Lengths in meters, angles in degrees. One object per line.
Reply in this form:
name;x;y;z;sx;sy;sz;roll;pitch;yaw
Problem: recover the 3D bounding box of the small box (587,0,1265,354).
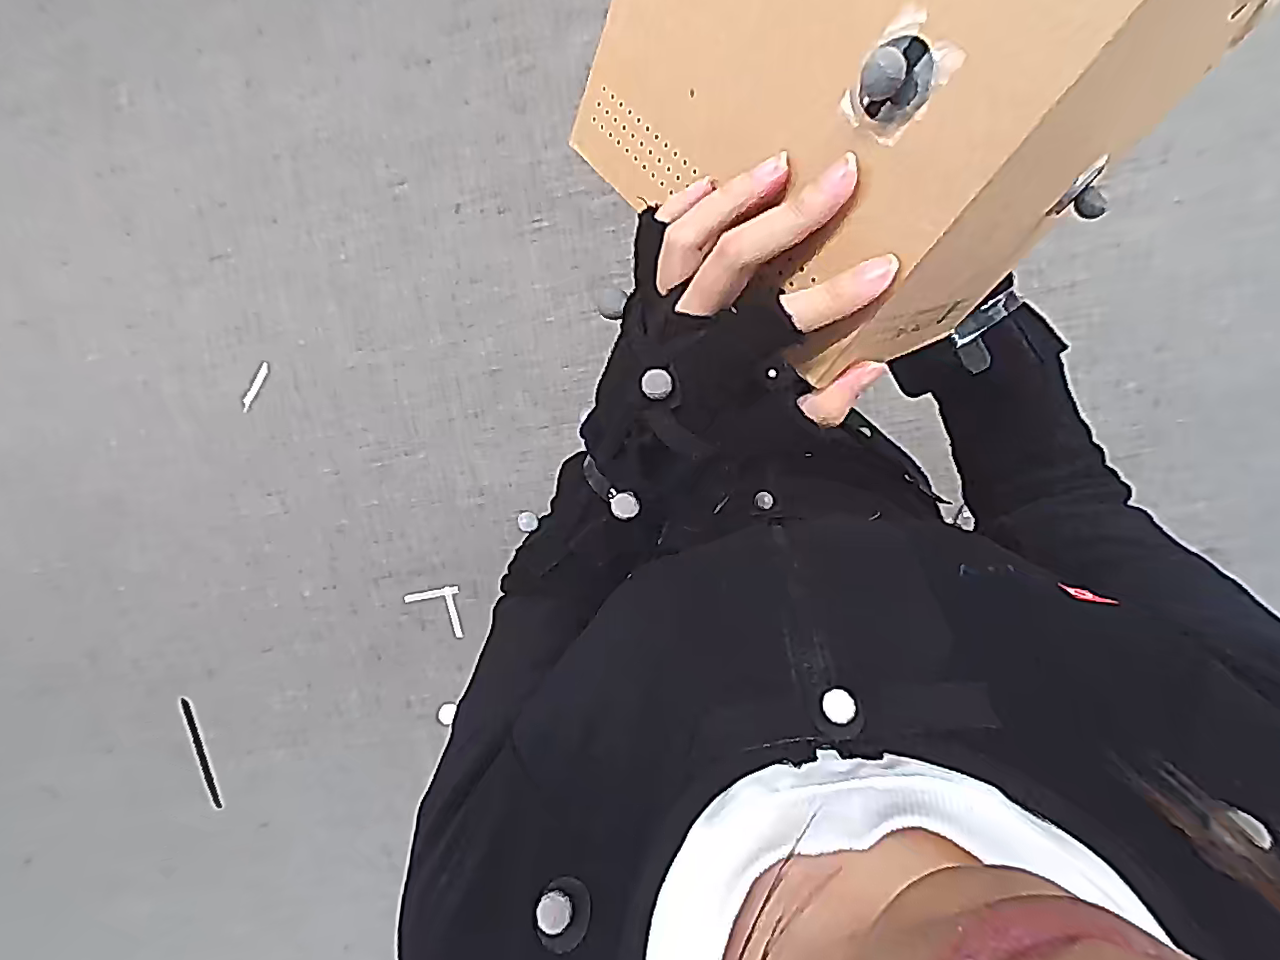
small box;0.106;-0.173;0.243;0.179;0.168;0.176;50;135;17
